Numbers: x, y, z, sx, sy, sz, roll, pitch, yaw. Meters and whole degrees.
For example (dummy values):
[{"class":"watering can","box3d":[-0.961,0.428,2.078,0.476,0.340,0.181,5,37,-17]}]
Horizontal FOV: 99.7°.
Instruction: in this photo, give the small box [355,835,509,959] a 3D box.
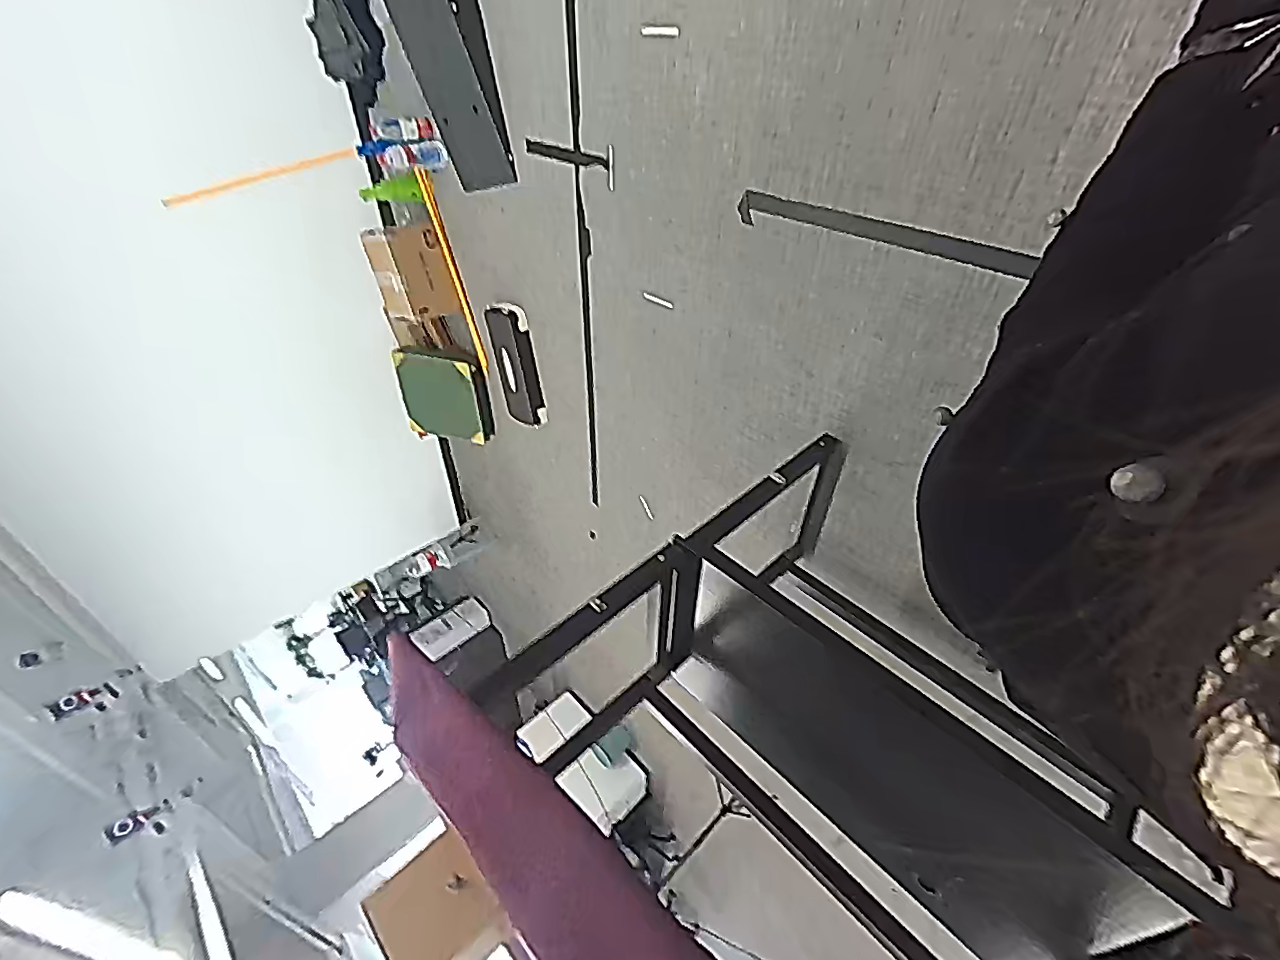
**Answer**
[{"class":"small box","box3d":[-0.346,0.749,0.922,0.179,0.176,0.168,35,140,33]}]
